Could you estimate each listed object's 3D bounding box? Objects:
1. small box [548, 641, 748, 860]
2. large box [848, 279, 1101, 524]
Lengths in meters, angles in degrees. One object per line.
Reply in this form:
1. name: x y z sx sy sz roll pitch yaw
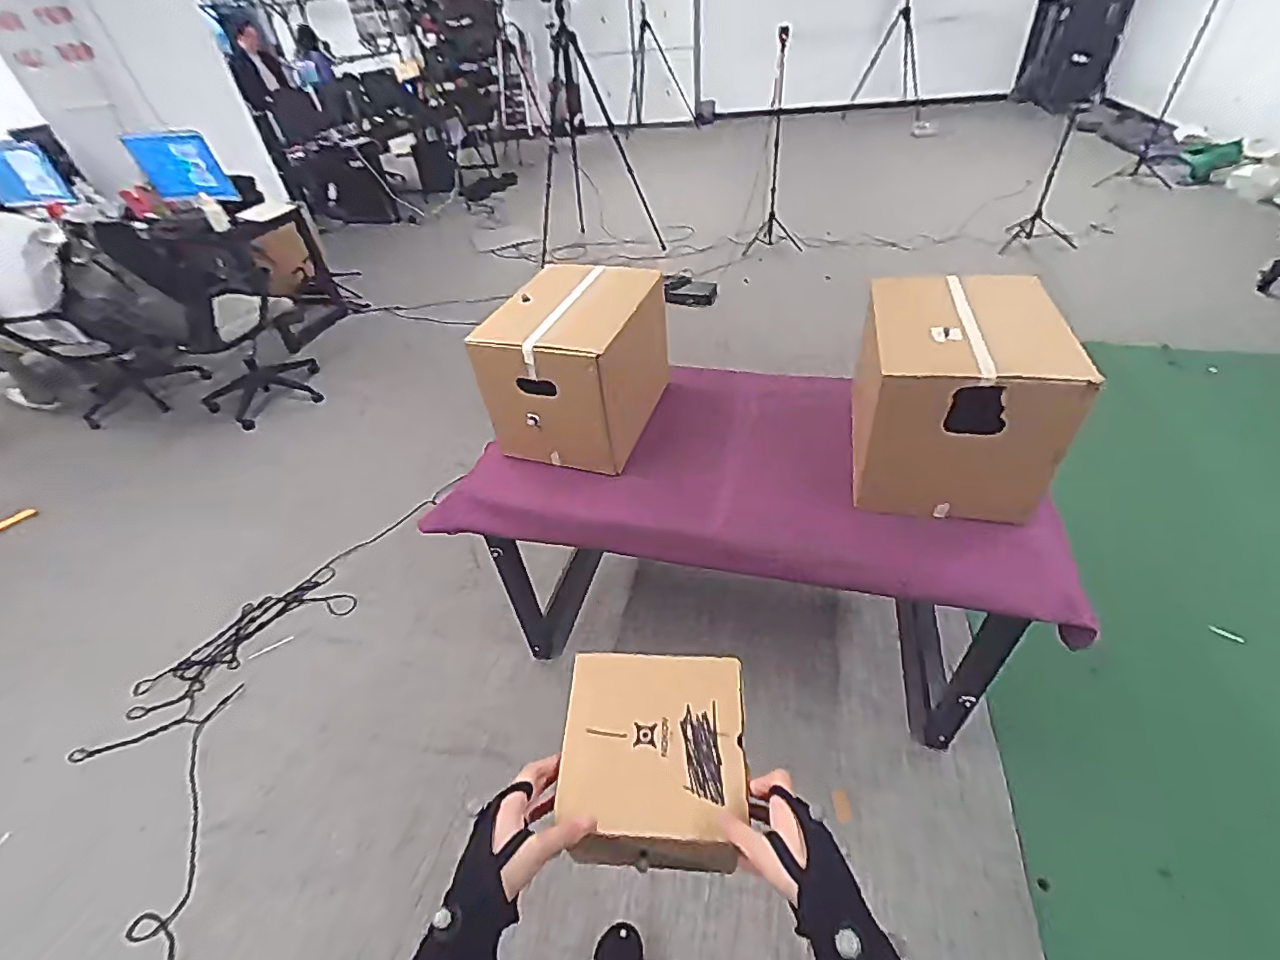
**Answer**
1. small box: 0.015 0.290 0.577 0.179 0.176 0.168 1 46 5
2. large box: 0.607 -0.170 1.083 0.320 0.320 0.408 4 43 16
